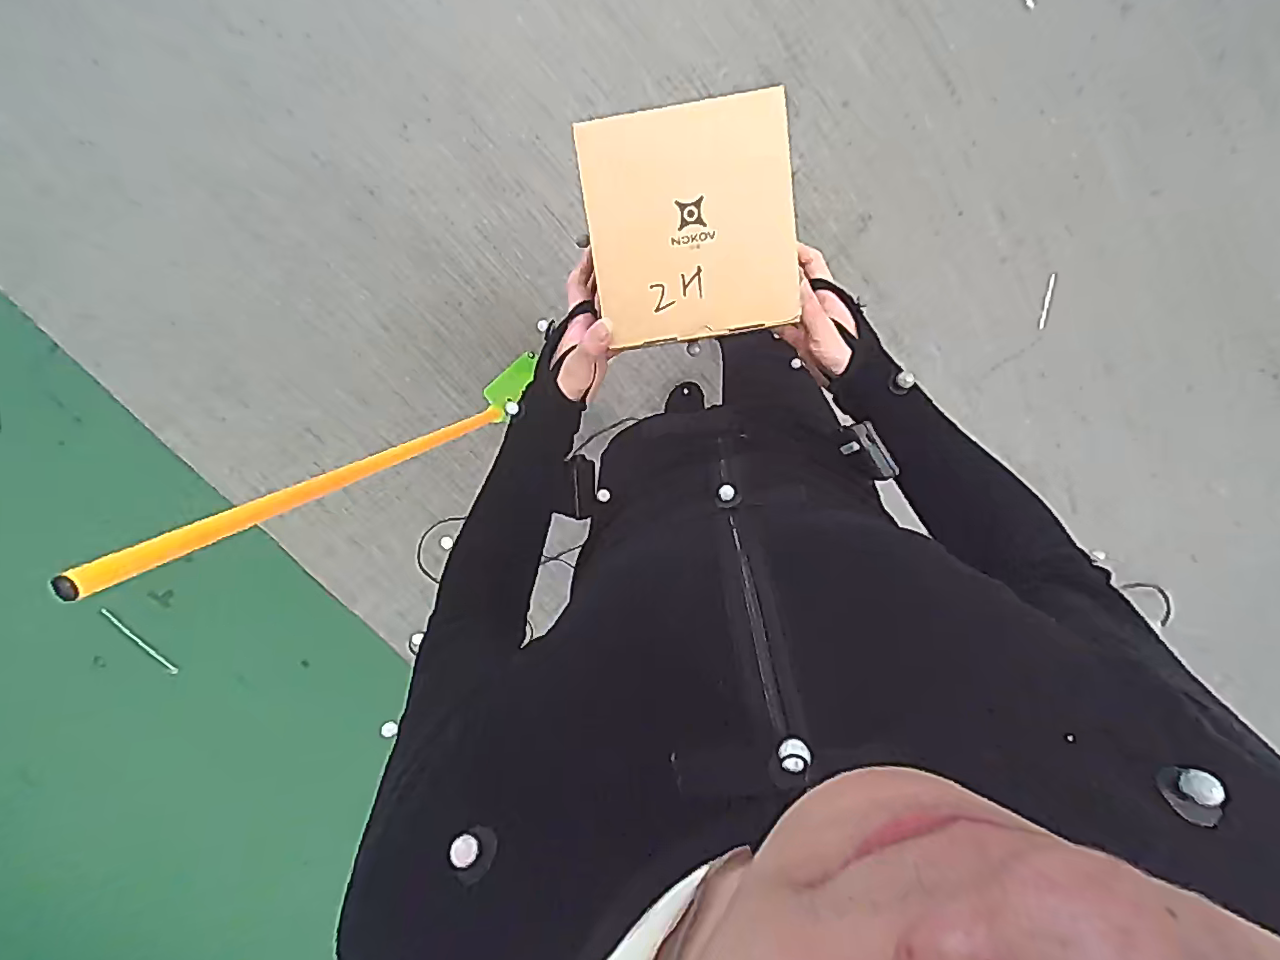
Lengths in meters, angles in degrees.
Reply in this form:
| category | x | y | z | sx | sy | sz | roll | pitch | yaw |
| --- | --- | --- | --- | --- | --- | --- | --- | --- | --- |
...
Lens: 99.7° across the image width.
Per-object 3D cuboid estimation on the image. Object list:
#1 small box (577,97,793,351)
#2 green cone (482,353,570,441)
| category | x | y | z | sx | sy | sz | roll | pitch | yaw |
| --- | --- | --- | --- | --- | --- | --- | --- | --- | --- |
| small box | 0.041 | -0.225 | 0.523 | 0.168 | 0.176 | 0.179 | -7 | 103 | 4 |
| green cone | -0.335 | -0.191 | 1.413 | 0.200 | 0.368 | 0.202 | -38 | 102 | 11 |
